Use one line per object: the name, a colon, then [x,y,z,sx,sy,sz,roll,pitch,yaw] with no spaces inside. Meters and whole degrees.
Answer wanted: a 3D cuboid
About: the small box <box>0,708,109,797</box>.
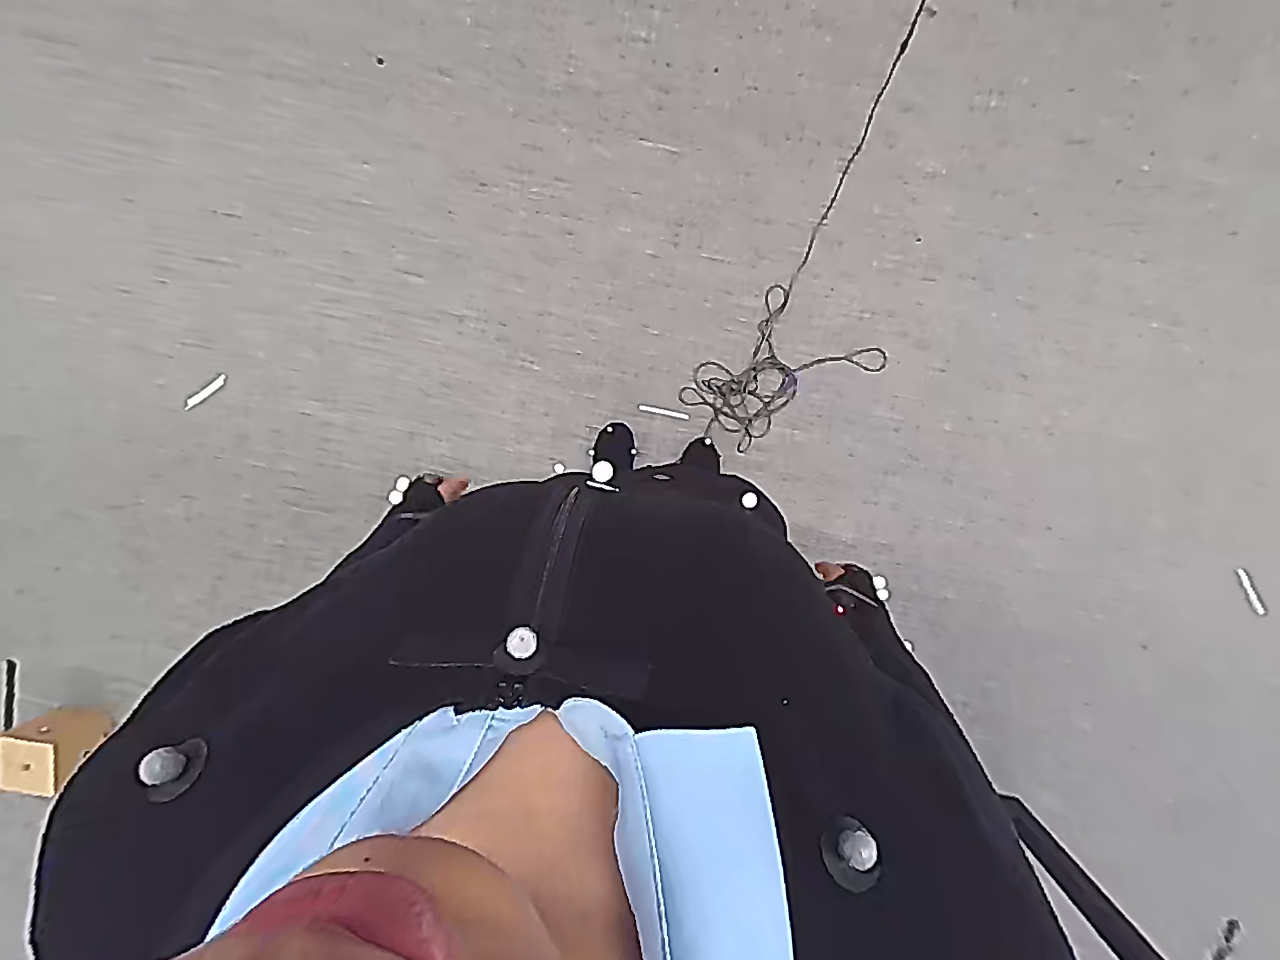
small box: [-1.744,0.805,1.613,0.179,0.176,0.168,8,96,4]
